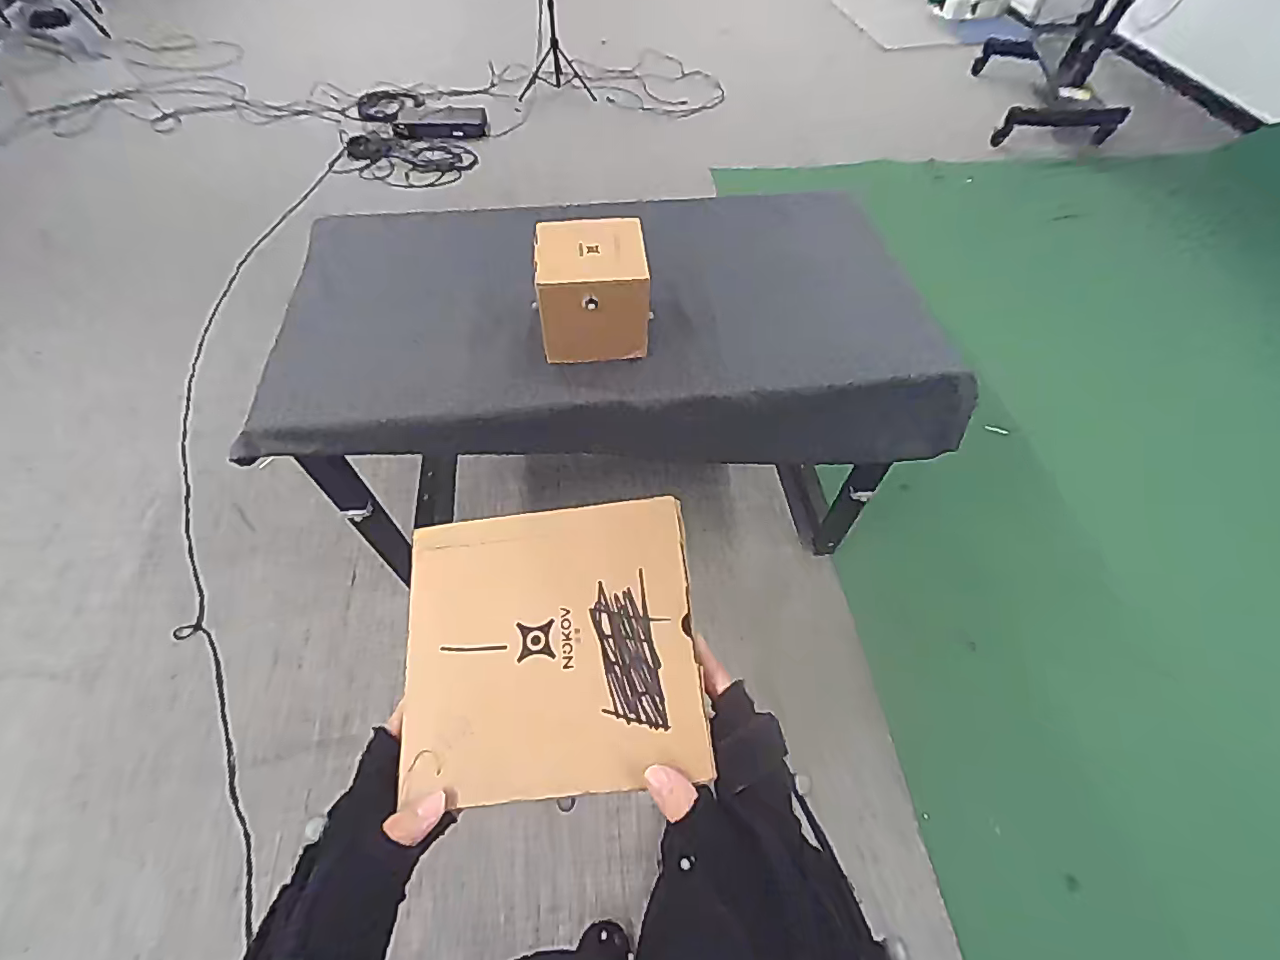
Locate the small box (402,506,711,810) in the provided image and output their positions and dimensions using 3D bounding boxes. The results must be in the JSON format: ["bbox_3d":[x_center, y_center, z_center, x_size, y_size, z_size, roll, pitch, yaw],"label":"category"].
[{"bbox_3d":[-0.050,0.129,0.403,0.179,0.176,0.168,-7,68,1],"label":"small box"}]

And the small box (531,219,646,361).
[{"bbox_3d":[-0.086,-0.319,0.924,0.179,0.176,0.168,-4,57,-5],"label":"small box"}]
